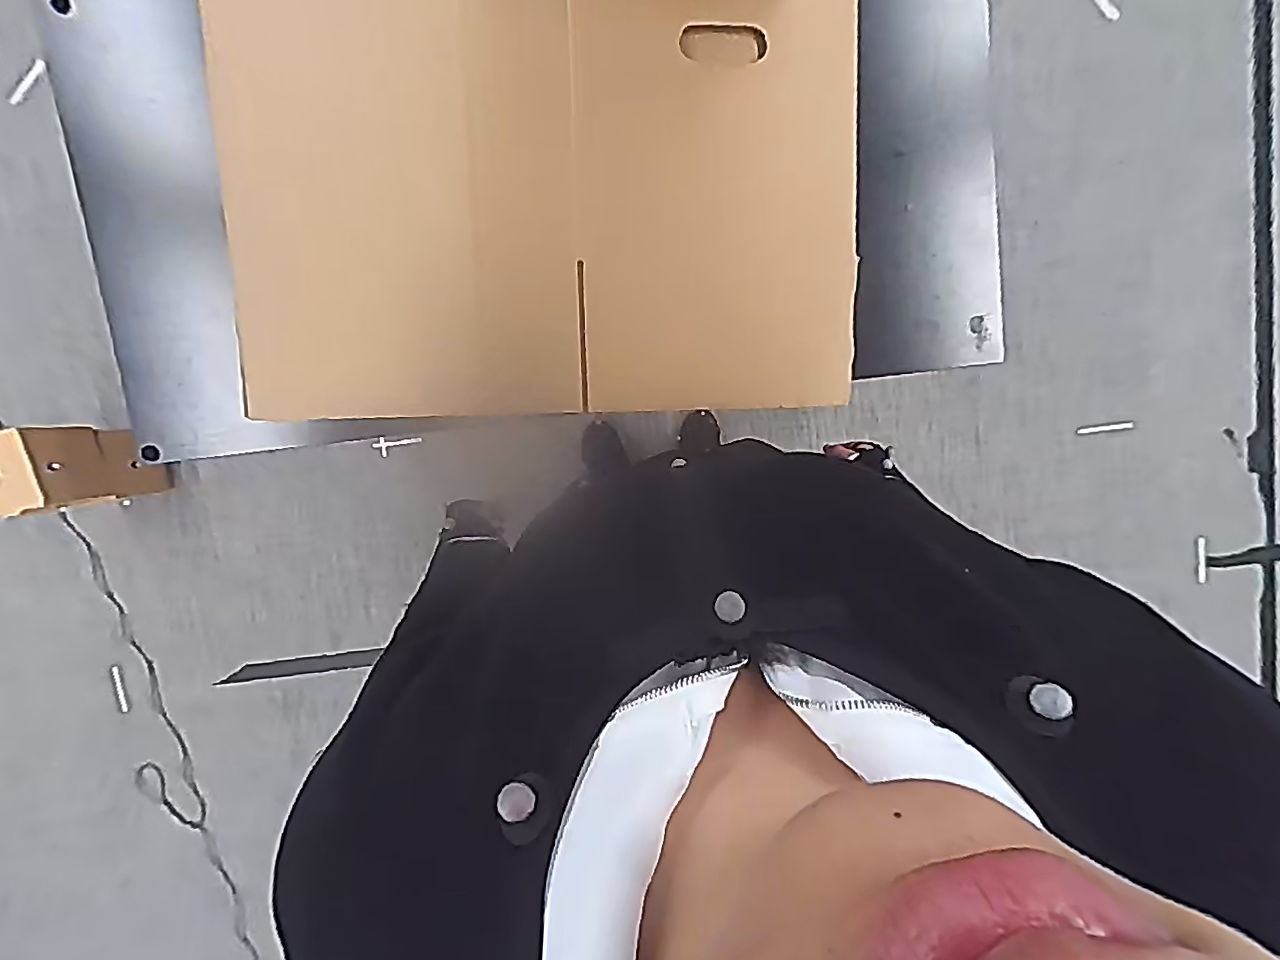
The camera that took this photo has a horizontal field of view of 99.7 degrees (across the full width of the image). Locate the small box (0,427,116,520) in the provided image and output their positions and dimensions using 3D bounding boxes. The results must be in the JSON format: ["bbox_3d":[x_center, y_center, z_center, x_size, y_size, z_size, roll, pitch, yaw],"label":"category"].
[{"bbox_3d":[-1.364,-0.019,1.231,0.168,0.176,0.179,-14,96,0],"label":"small box"}]

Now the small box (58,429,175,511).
[{"bbox_3d":[-1.366,-0.032,1.394,0.168,0.176,0.179,-11,97,0],"label":"small box"}]
